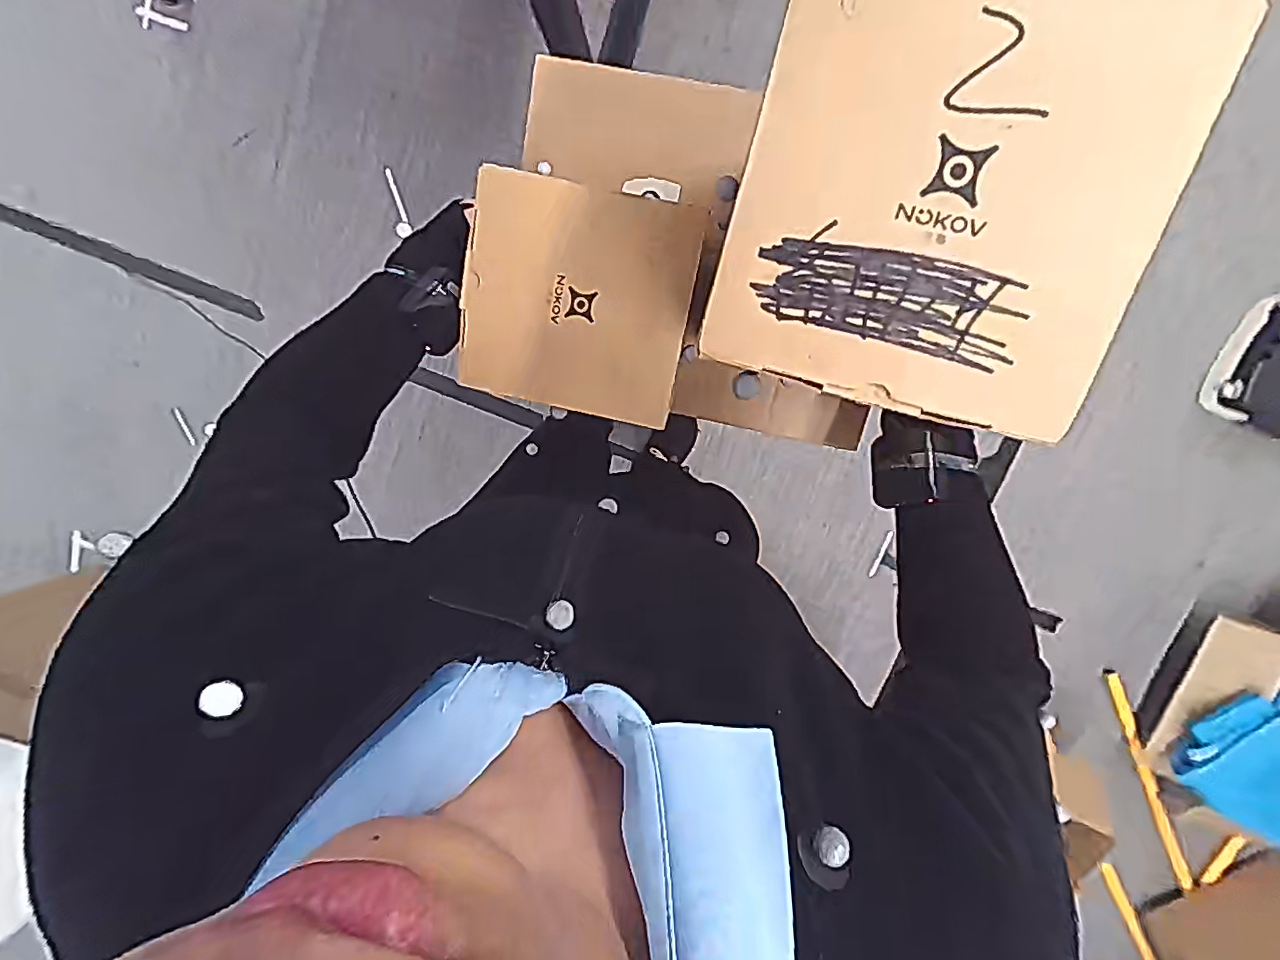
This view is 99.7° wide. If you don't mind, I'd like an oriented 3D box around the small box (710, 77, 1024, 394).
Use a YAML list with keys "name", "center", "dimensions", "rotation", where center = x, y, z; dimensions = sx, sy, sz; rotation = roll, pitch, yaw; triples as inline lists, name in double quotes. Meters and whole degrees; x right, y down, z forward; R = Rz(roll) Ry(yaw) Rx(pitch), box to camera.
- name: "small box"
  center: [0.158, -0.181, 0.445]
  dimensions: [0.168, 0.176, 0.179]
  rotation: [14, 106, 5]

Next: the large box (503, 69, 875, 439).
- name: "large box"
  center: [0.084, -0.258, 0.690]
  dimensions: [0.408, 0.320, 0.320]
  rotation: [11, 105, 5]
